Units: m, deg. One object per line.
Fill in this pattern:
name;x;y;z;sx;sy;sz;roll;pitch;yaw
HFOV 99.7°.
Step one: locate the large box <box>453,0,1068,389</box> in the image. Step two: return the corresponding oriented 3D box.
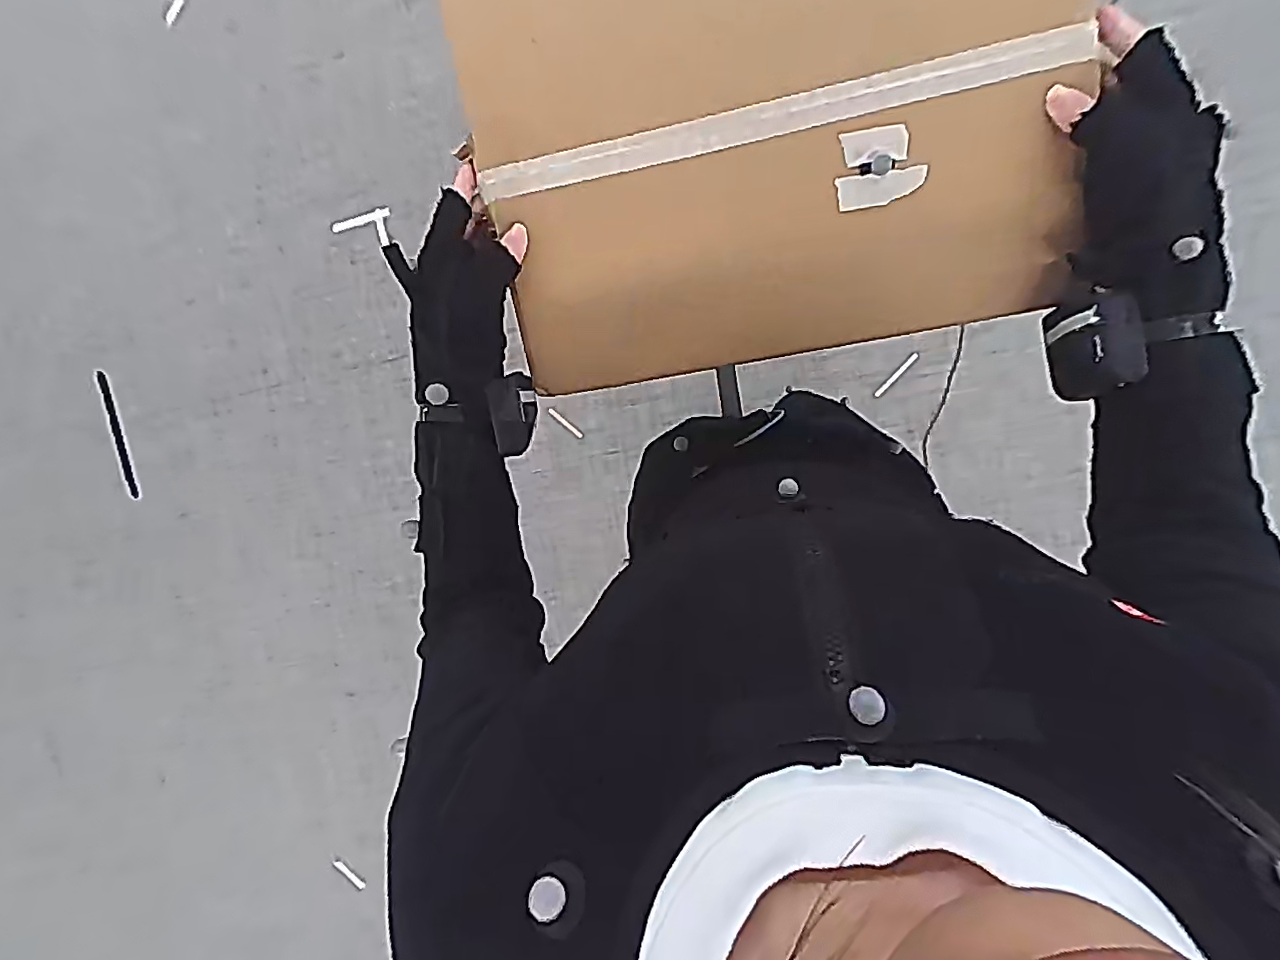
large box;0.097;-0.291;0.525;0.408;0.320;0.320;-9;106;7
